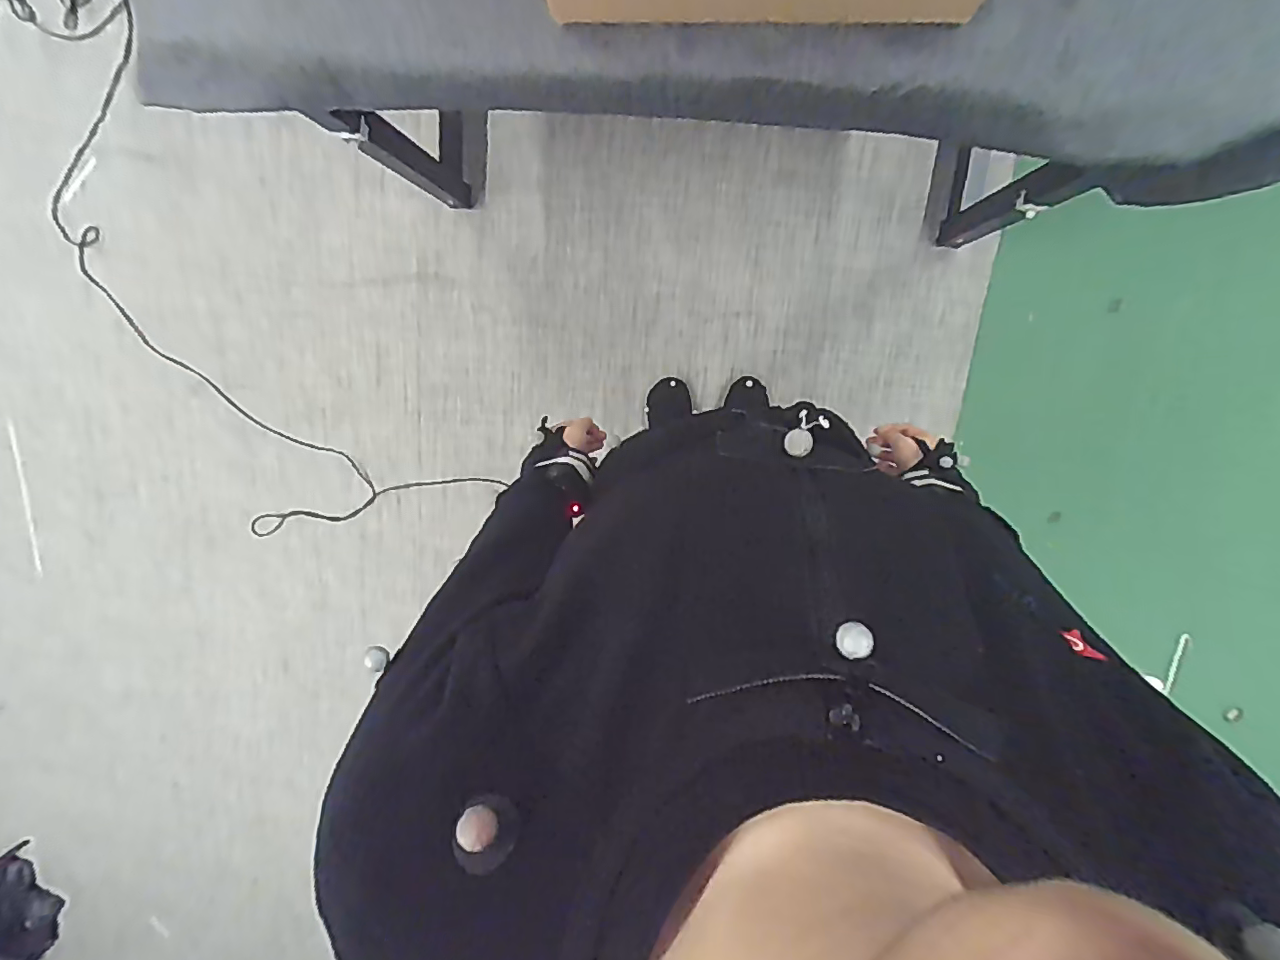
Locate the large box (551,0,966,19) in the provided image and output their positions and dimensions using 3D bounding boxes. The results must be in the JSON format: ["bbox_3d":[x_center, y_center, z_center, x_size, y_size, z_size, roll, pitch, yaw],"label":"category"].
[{"bbox_3d":[0.104,-0.575,0.356,0.408,0.320,0.320,3,102,4],"label":"large box"}]
